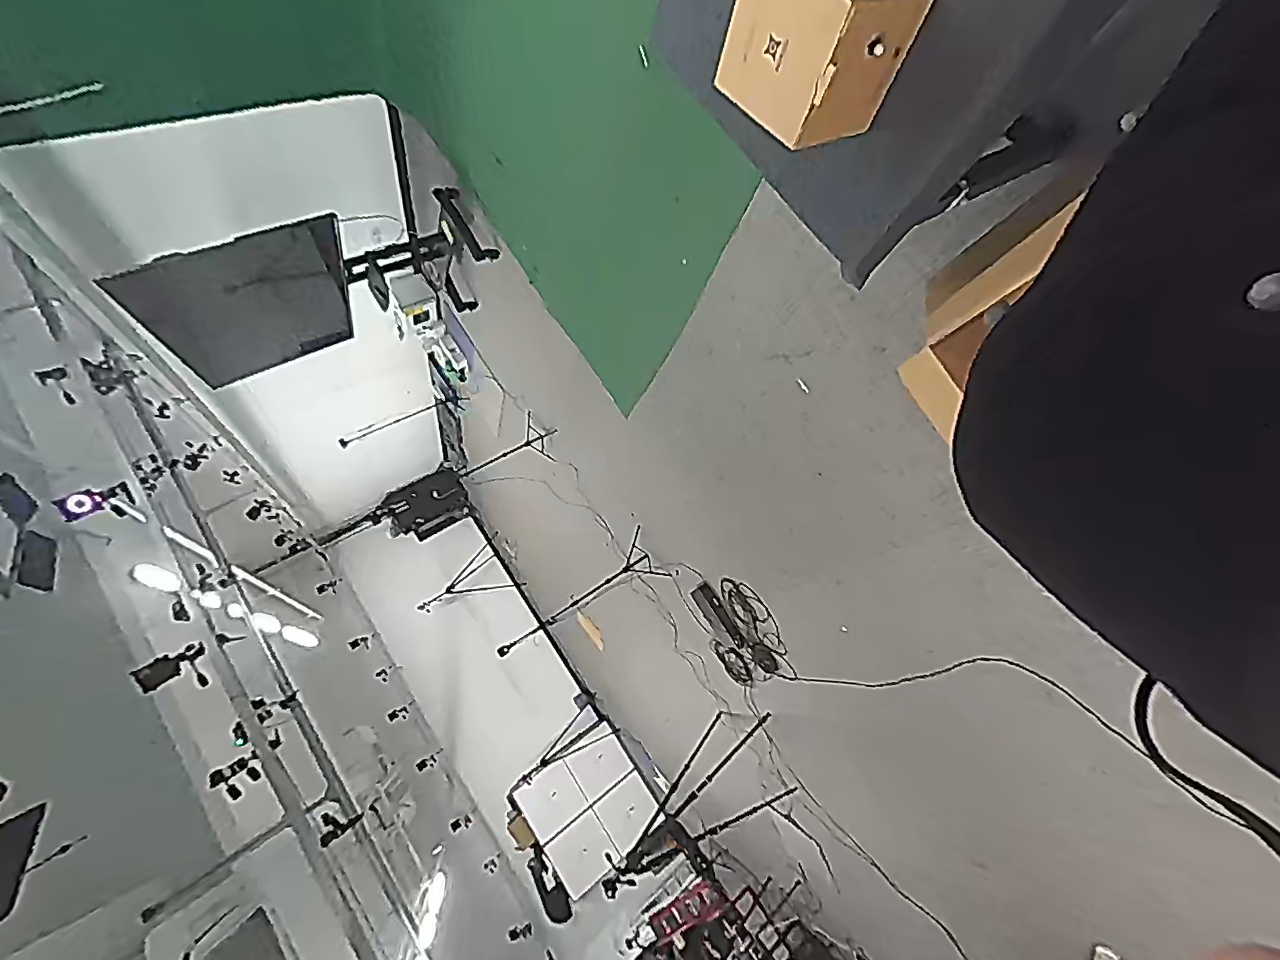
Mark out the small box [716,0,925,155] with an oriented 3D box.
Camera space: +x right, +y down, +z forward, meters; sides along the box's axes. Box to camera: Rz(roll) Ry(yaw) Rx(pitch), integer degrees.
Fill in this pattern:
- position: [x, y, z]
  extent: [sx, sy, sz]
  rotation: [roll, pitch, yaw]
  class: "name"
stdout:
- position: [0.240, -0.584, 0.736]
  extent: [0.179, 0.176, 0.168]
  rotation: [53, 153, 19]
  class: "small box"
